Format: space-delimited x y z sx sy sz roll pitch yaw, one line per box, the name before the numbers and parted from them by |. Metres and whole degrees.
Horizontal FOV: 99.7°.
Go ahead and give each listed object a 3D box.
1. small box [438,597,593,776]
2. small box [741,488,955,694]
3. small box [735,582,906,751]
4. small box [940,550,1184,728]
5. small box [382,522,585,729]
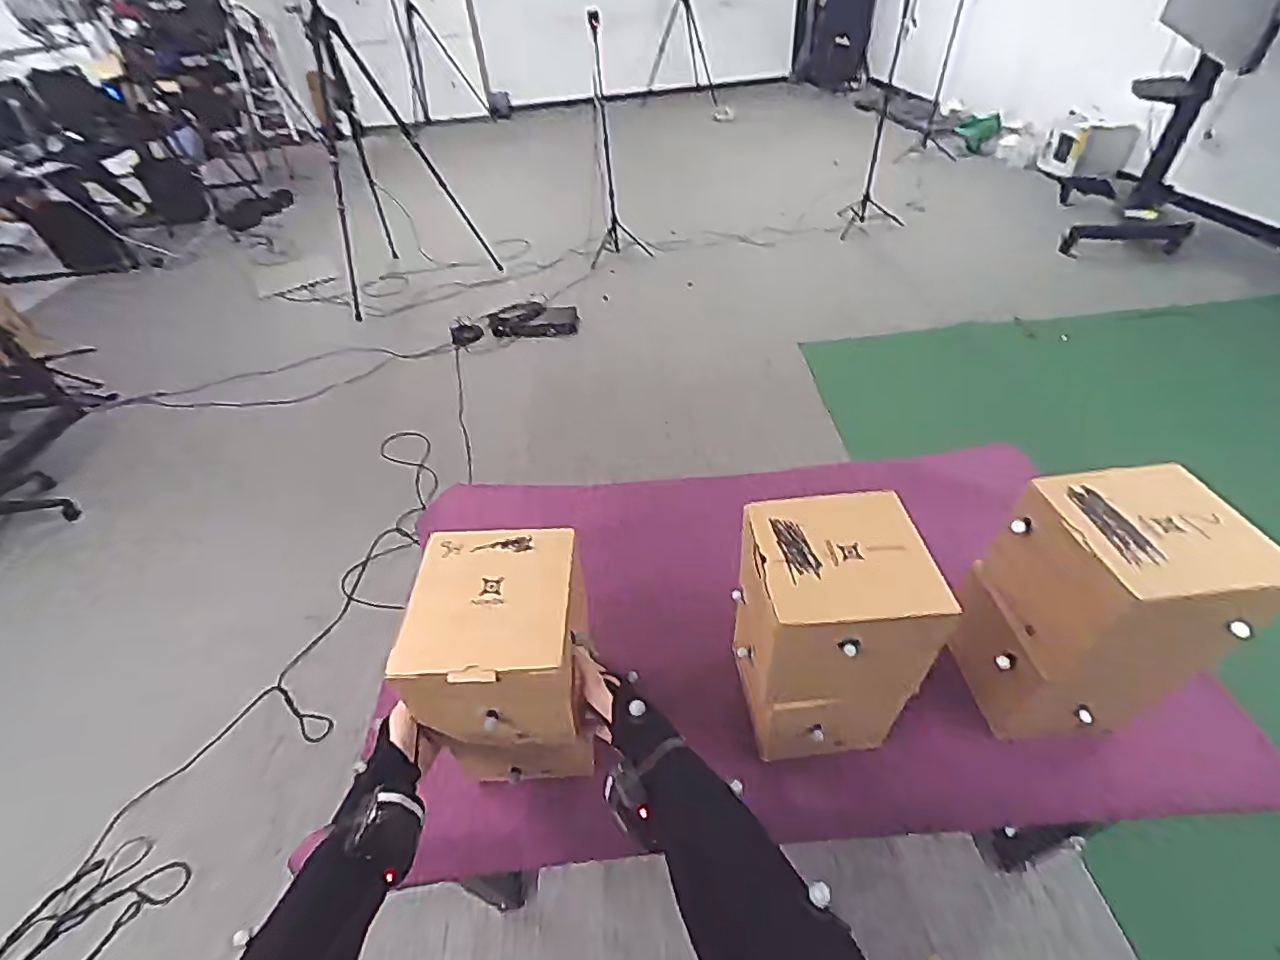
small box | -0.154 0.277 0.734 0.168 0.176 0.179 -3 45 -1
small box | 0.214 0.129 0.620 0.179 0.176 0.168 -4 43 1
small box | 0.227 0.248 0.733 0.168 0.176 0.179 -7 42 -1
small box | 0.541 0.219 0.729 0.168 0.176 0.179 -4 43 2
small box | -0.155 0.168 0.611 0.168 0.176 0.179 -1 45 1
